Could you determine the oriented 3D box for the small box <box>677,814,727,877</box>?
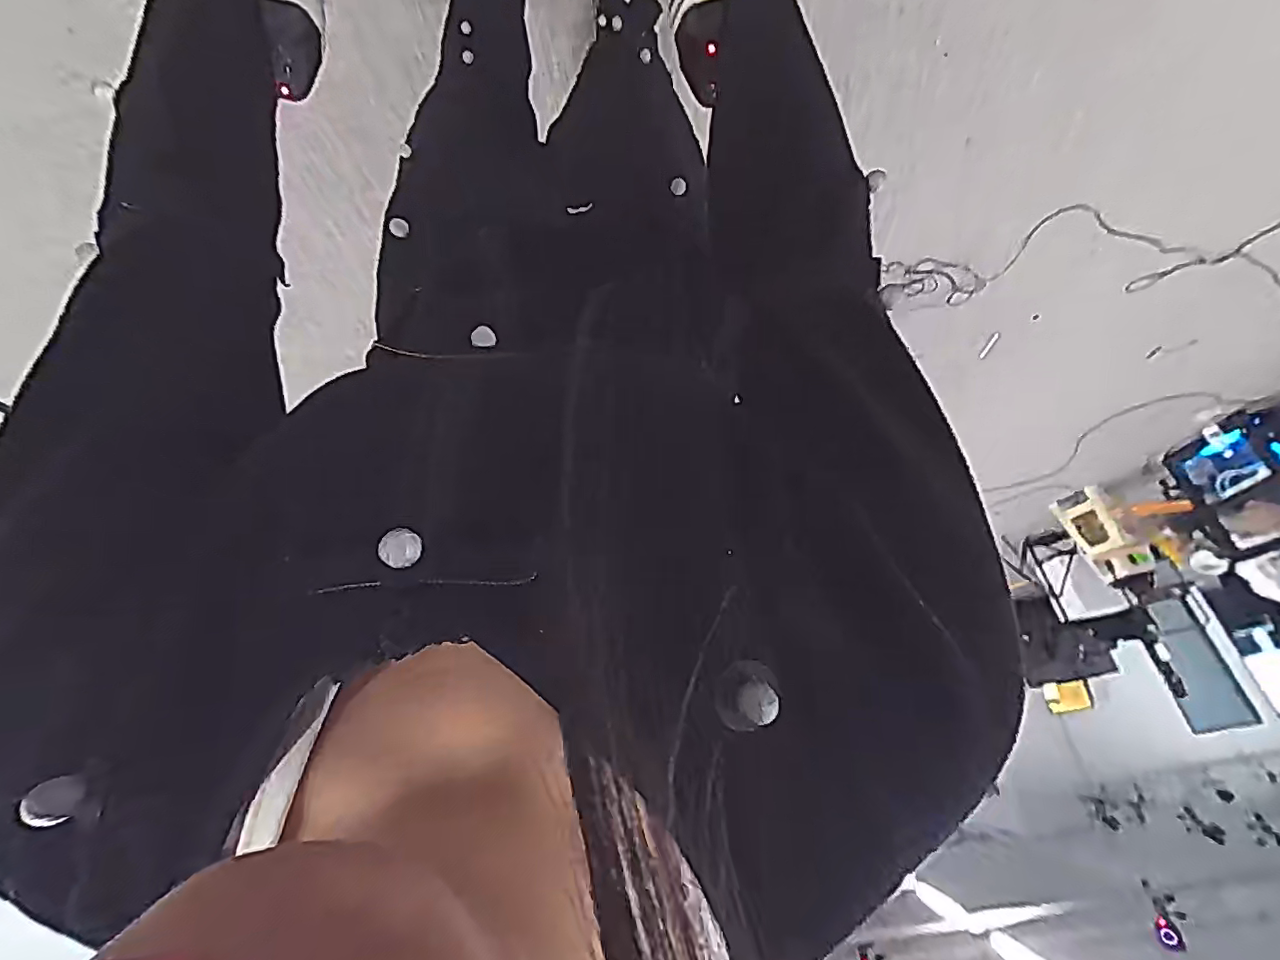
[{"bbox_3d":[0.242,1.447,2.151,0.168,0.176,0.179,-10,154,1],"label":"small box"}]
